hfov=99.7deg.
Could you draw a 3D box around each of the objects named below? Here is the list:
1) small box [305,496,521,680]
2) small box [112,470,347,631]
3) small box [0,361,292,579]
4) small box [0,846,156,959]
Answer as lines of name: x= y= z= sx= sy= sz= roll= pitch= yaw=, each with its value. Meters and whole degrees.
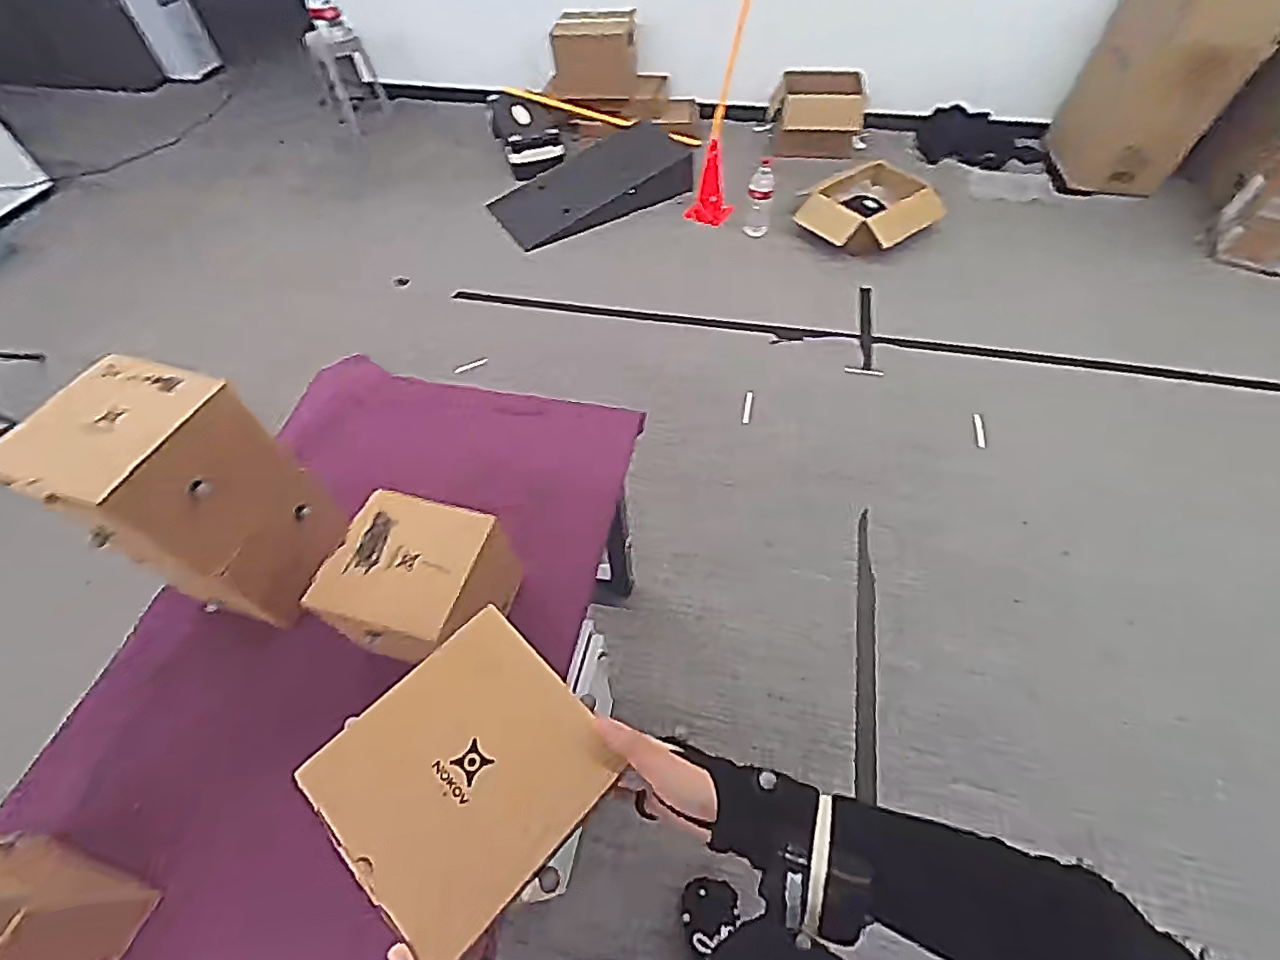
small box: x=-0.281 y=0.147 z=0.715 sx=0.179 sy=0.176 sz=0.168 roll=11 pitch=56 yaw=11
small box: x=-0.554 y=0.087 z=0.767 sx=0.168 sy=0.176 sz=0.179 roll=12 pitch=56 yaw=10
small box: x=-0.560 y=-0.006 z=0.632 sx=0.168 sy=0.176 sz=0.179 roll=14 pitch=57 yaw=10
small box: x=-0.635 y=0.463 z=0.505 sx=0.179 sy=0.176 sz=0.168 roll=15 pitch=58 yaw=10
